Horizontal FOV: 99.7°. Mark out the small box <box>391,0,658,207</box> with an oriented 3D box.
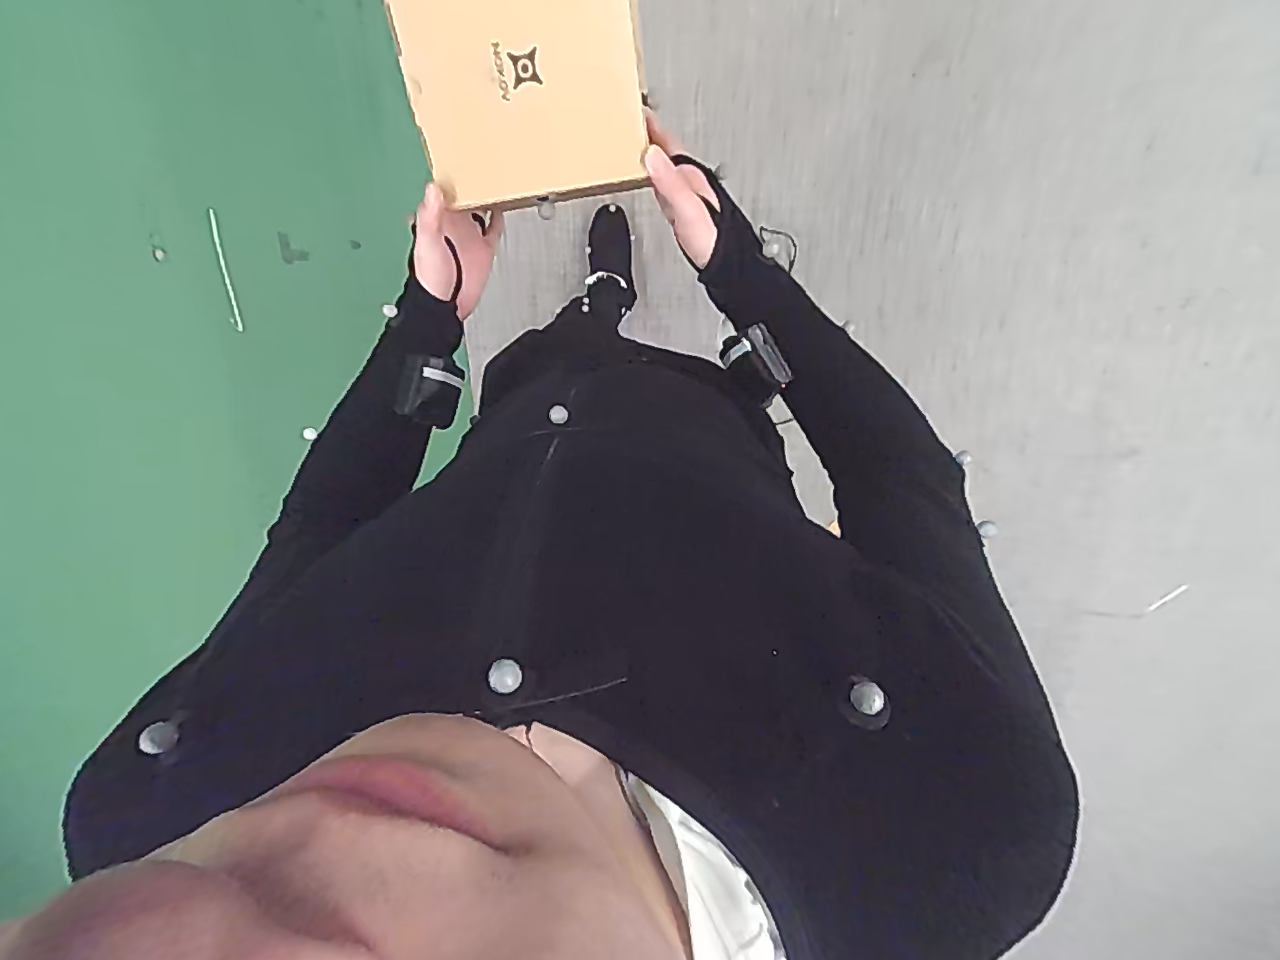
[{"bbox_3d":[-0.079,-0.341,0.467,0.179,0.176,0.168,-5,117,8],"label":"small box"}]
